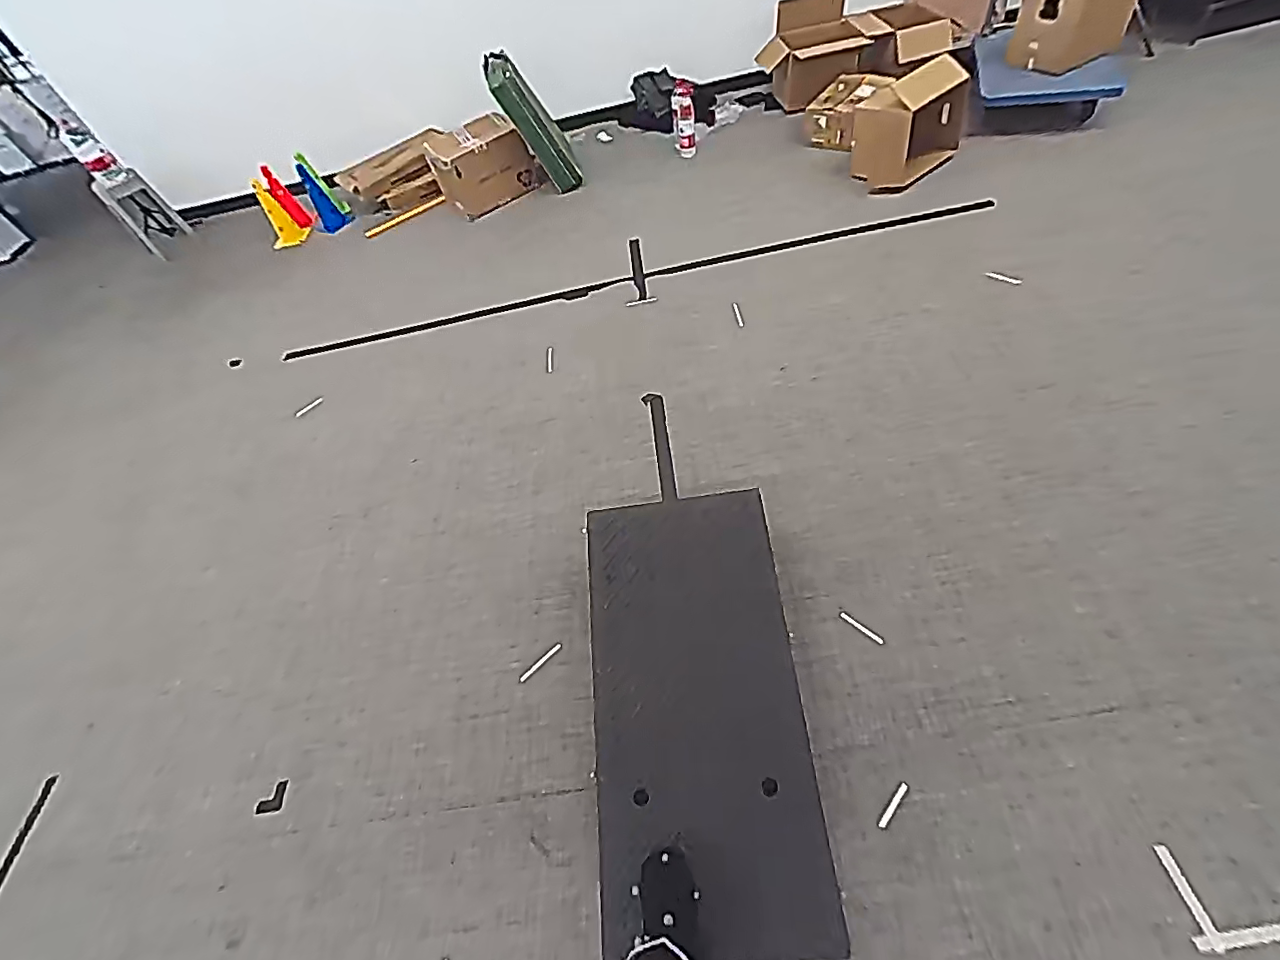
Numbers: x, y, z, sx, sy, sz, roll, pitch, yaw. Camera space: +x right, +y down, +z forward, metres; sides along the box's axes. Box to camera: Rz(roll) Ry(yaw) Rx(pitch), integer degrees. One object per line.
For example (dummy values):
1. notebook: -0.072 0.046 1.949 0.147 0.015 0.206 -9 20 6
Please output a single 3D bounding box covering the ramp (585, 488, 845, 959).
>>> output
1. ramp: 0.125 0.500 1.293 0.509 0.206 0.991 -9 53 4
